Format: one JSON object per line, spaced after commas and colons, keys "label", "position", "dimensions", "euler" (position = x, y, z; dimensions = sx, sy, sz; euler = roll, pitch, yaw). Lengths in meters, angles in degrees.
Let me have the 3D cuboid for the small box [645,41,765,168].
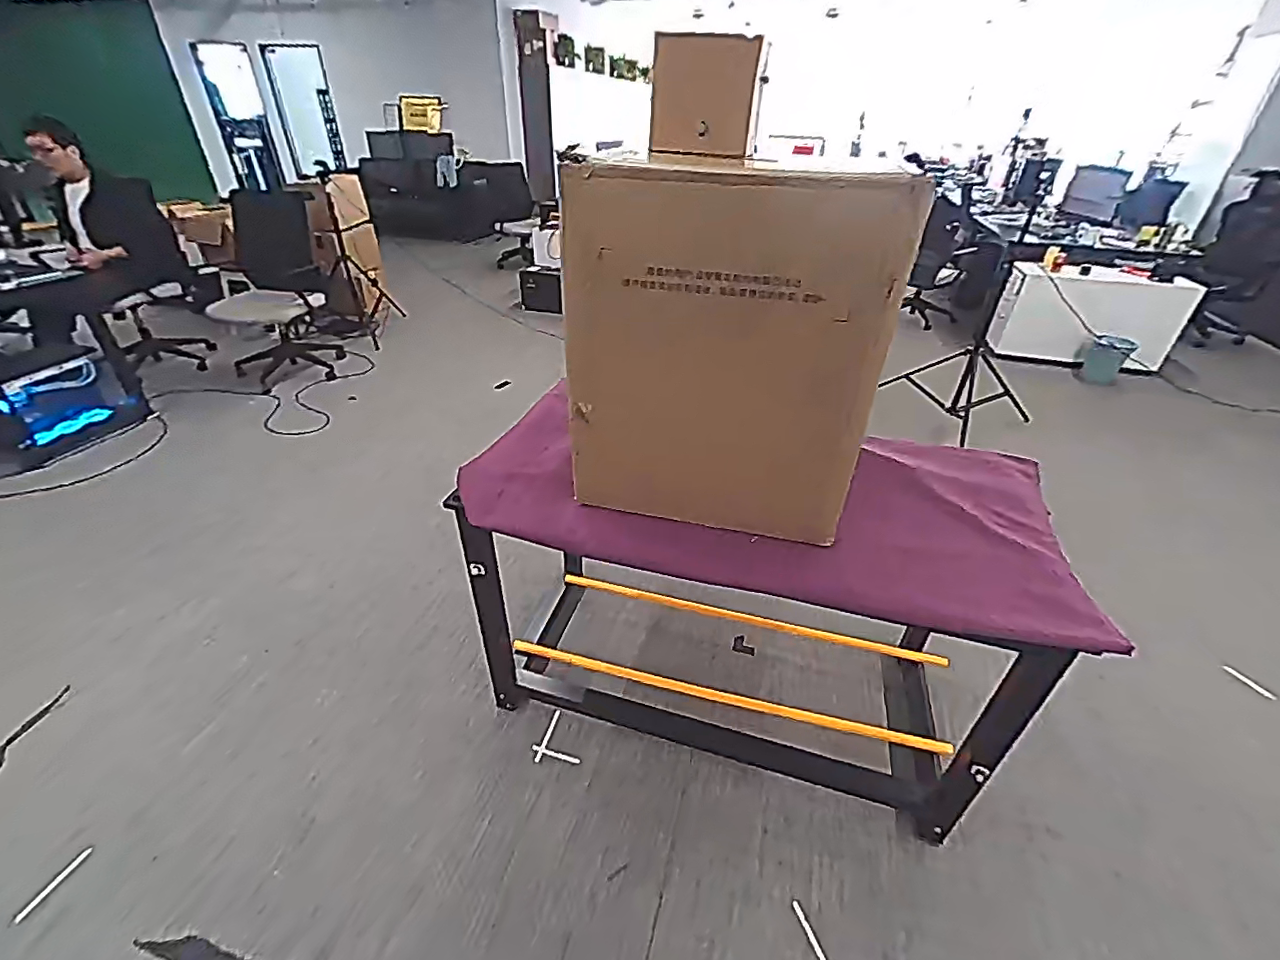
{"label": "small box", "position": [0.115, -0.659, 0.957], "dimensions": [0.179, 0.176, 0.168], "euler": [10, 35, 12]}
